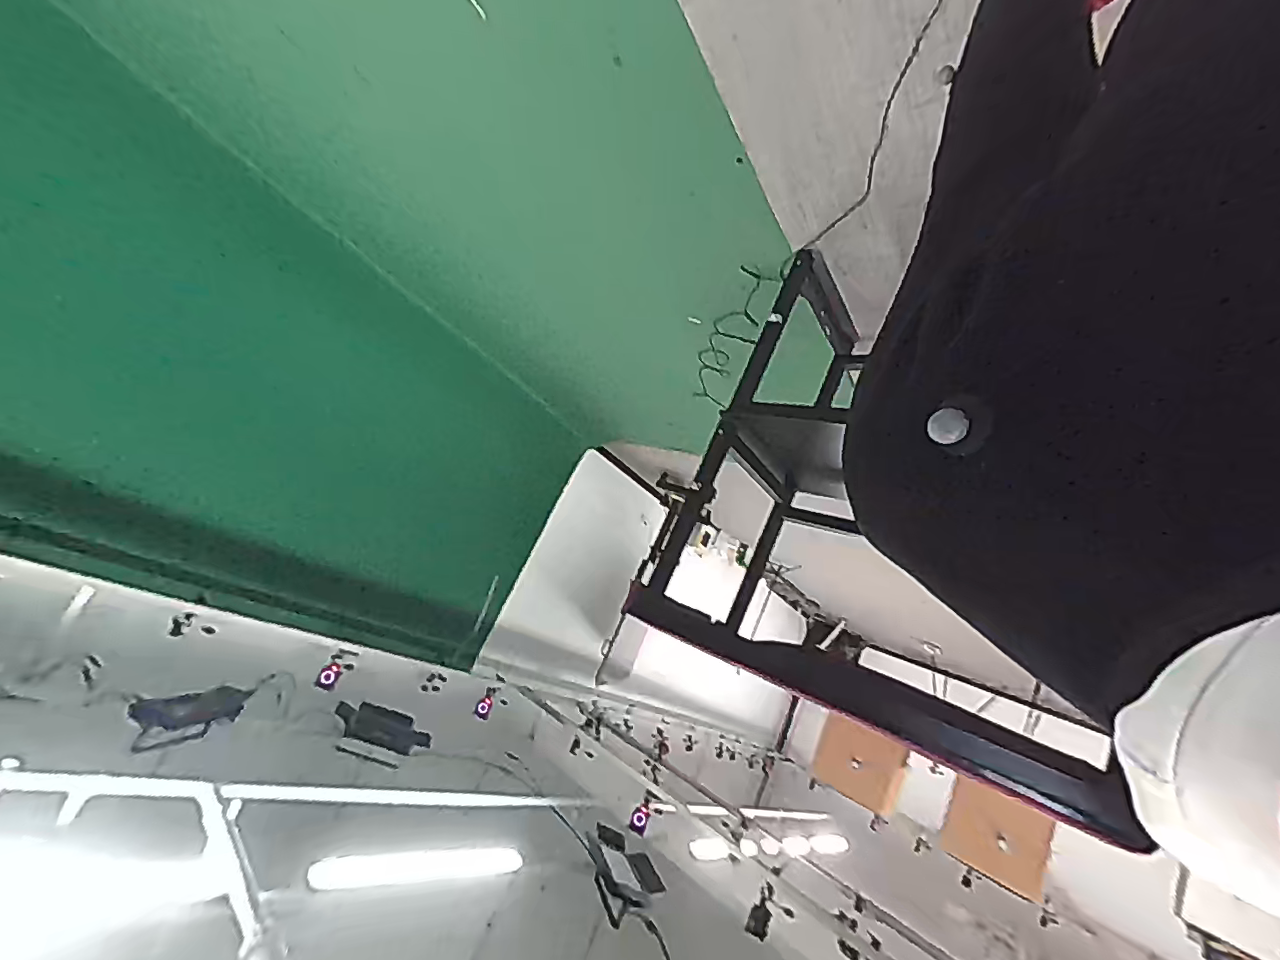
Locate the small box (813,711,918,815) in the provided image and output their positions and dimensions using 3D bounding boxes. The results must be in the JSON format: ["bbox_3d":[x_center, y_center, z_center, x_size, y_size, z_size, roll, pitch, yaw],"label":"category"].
[{"bbox_3d":[0.545,0.671,1.301,0.179,0.176,0.168,13,163,39],"label":"small box"}]

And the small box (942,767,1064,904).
[{"bbox_3d":[0.745,0.714,1.106,0.179,0.176,0.168,13,161,41],"label":"small box"}]
